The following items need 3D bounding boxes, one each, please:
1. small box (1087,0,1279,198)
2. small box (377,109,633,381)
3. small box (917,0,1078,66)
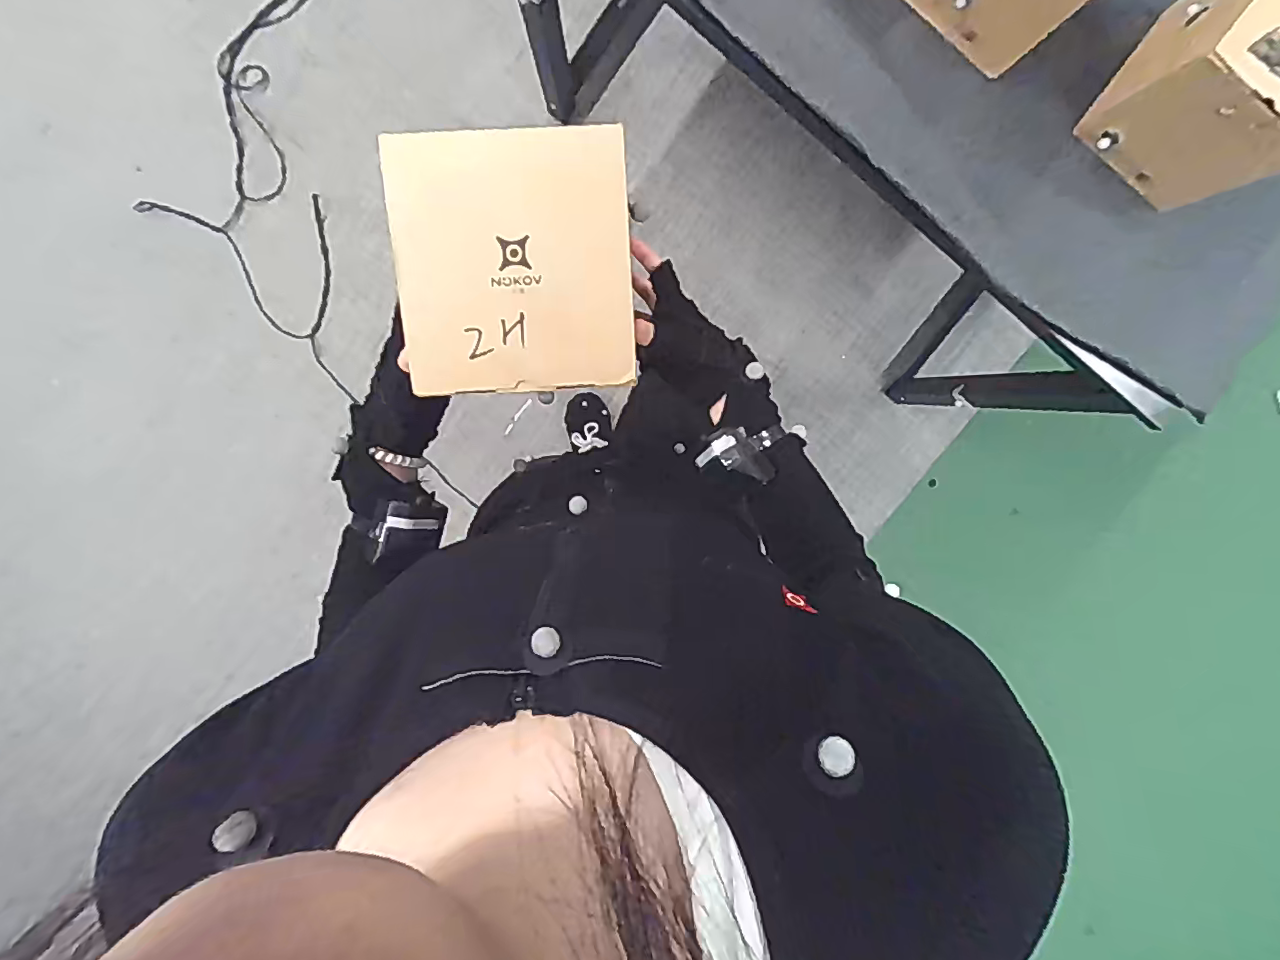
[{"bbox_3d":[0.664,-0.460,0.608,0.168,0.176,0.179,35,96,-8],"label":"small box"},{"bbox_3d":[-0.093,-0.175,0.452,0.168,0.176,0.179,-3,102,-1],"label":"small box"},{"bbox_3d":[0.427,-0.610,0.574,0.168,0.176,0.179,35,97,-8],"label":"small box"}]
